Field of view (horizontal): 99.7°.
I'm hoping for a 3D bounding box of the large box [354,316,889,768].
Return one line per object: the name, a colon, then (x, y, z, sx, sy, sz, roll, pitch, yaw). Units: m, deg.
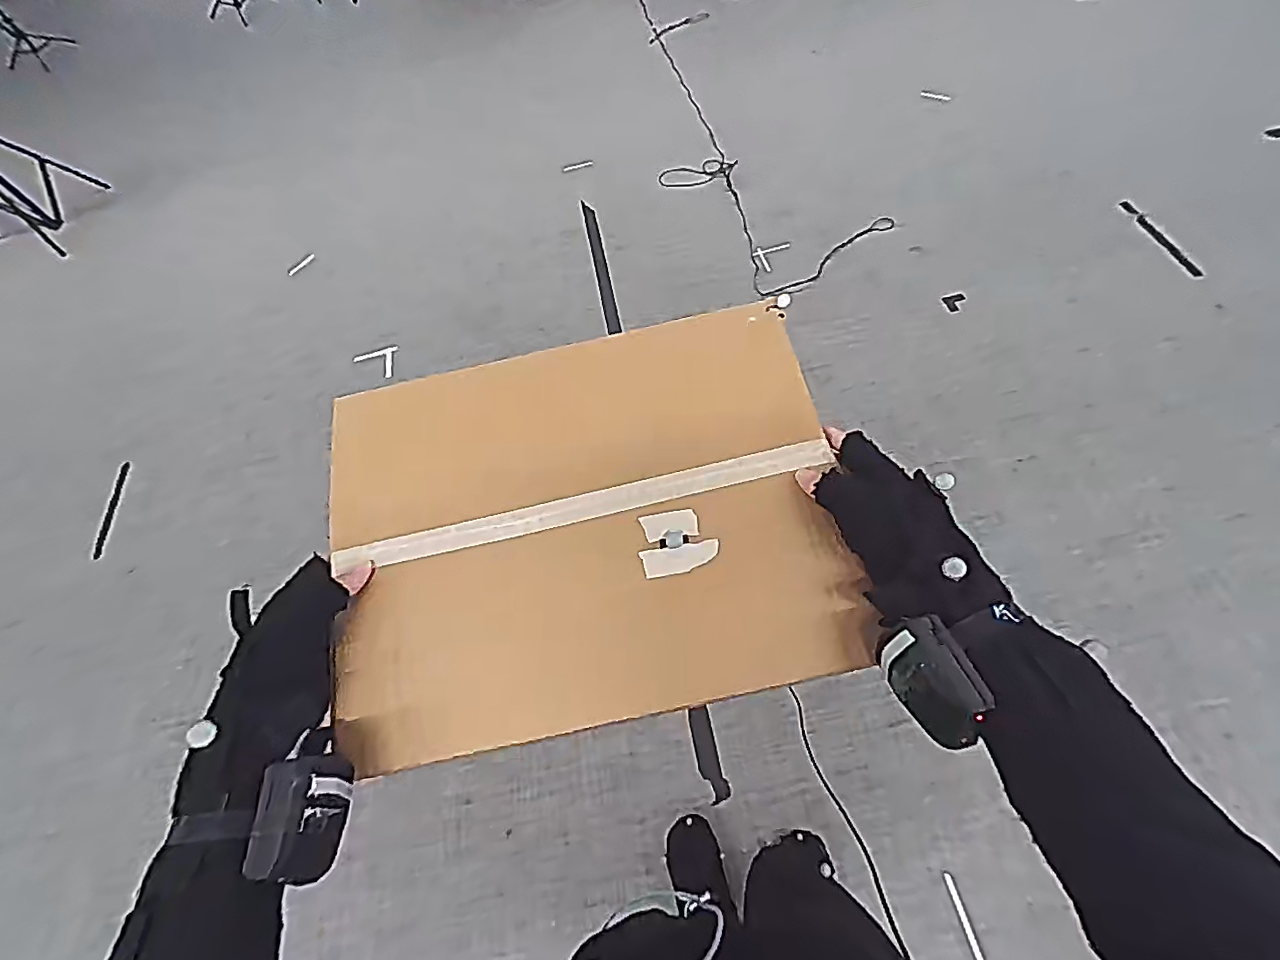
large box: (-0.030, 0.083, 0.583, 0.408, 0.320, 0.320, -12, 68, 0)
